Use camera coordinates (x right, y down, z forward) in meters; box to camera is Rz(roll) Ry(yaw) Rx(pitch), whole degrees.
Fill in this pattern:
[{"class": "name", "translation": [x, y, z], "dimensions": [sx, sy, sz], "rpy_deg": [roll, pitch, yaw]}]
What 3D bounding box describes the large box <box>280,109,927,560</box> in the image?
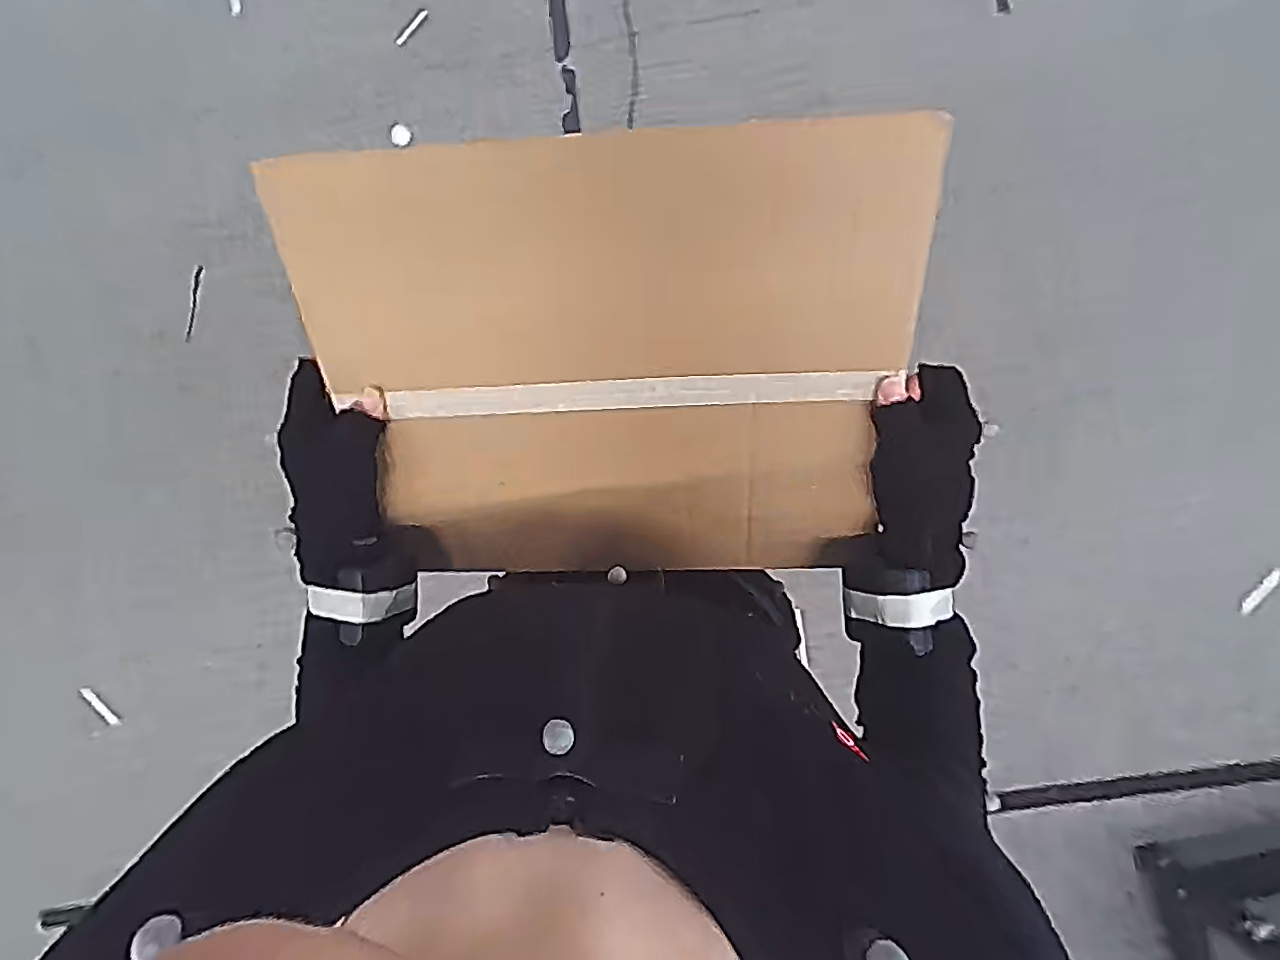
[{"class": "large box", "translation": [-0.016, -0.141, 0.524], "dimensions": [0.408, 0.320, 0.320], "rpy_deg": [-1, 120, 4]}]
